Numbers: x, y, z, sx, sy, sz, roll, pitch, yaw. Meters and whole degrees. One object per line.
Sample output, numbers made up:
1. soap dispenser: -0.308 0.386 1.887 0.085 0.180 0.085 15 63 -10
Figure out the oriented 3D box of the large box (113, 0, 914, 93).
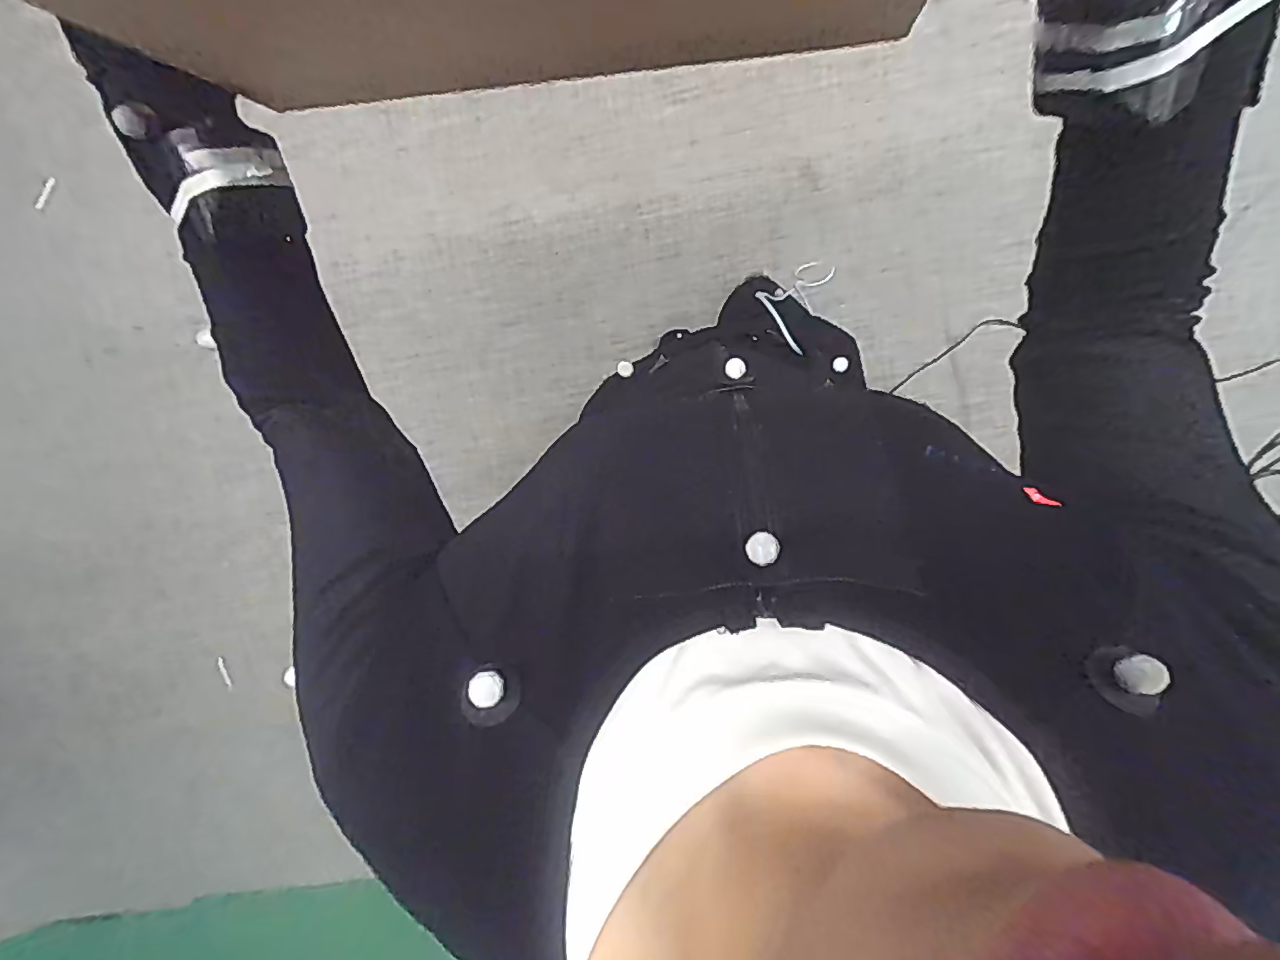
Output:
1. large box: -0.074 -0.363 0.151 0.408 0.320 0.320 1 107 9
